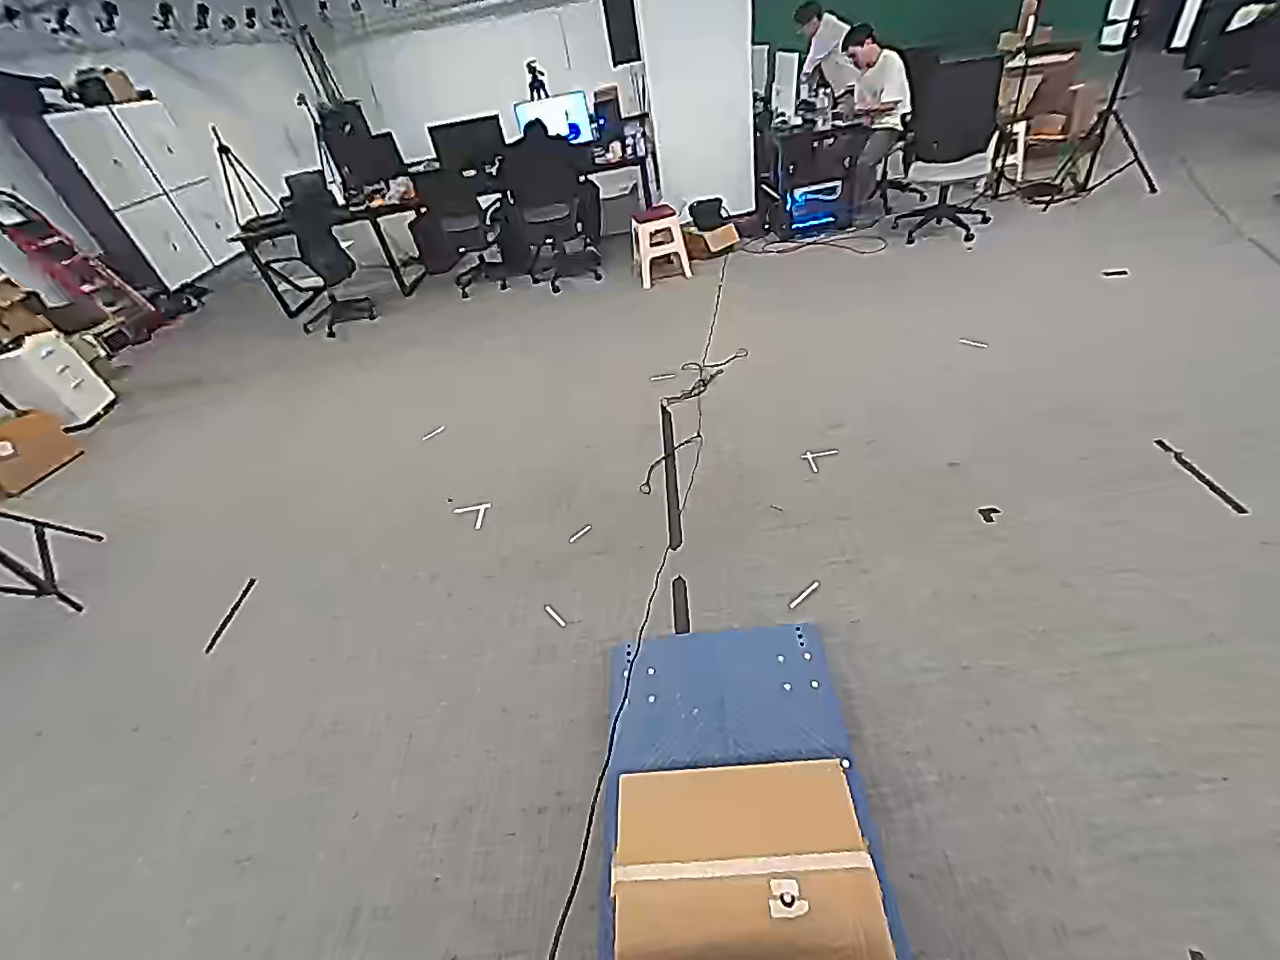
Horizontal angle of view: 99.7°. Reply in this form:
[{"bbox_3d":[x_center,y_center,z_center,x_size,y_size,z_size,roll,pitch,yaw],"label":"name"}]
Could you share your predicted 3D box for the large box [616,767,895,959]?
[{"bbox_3d":[0.180,0.742,0.943,0.408,0.320,0.320,-7,39,5],"label":"large box"}]
